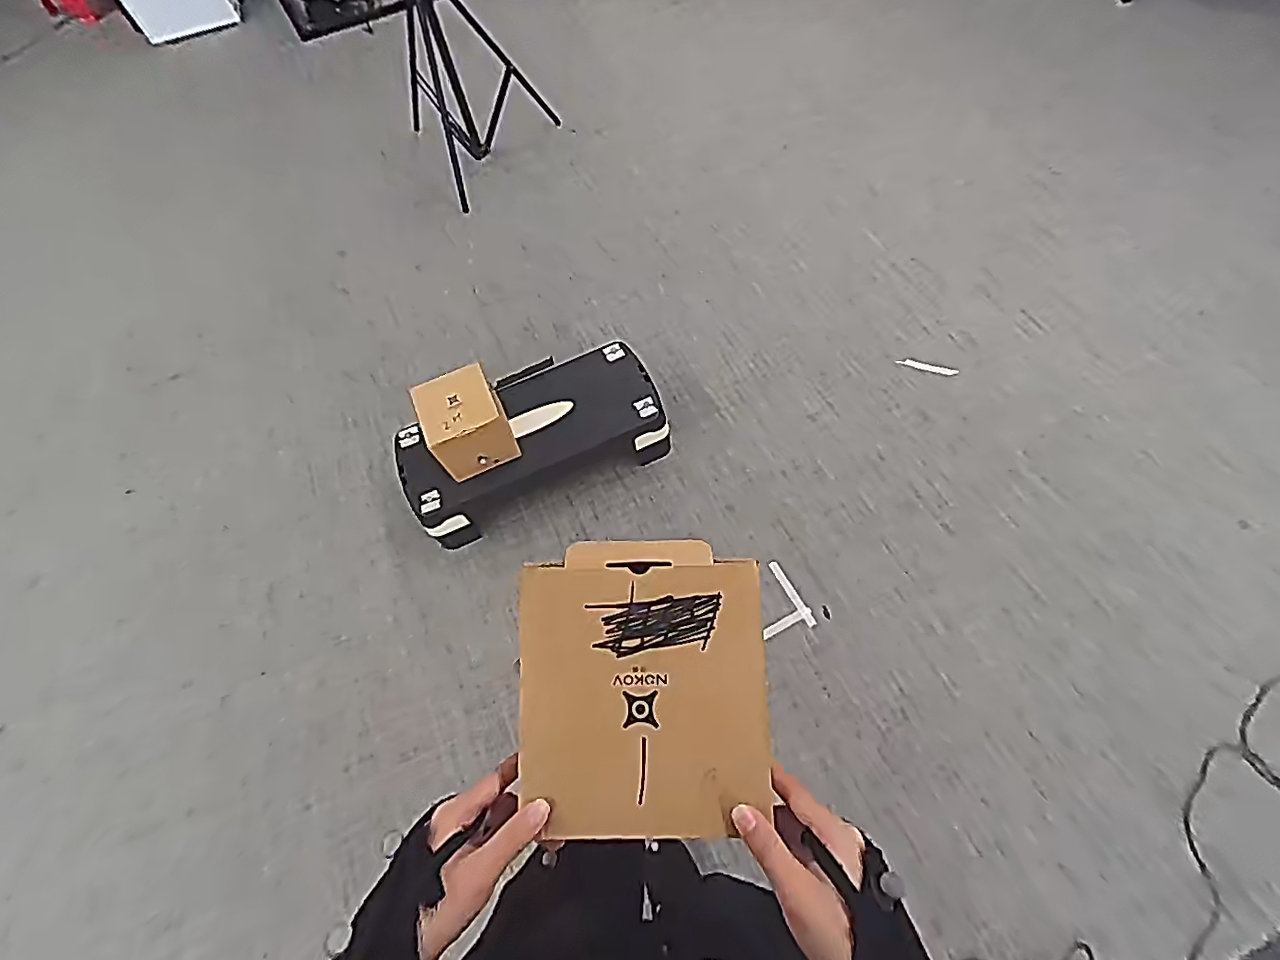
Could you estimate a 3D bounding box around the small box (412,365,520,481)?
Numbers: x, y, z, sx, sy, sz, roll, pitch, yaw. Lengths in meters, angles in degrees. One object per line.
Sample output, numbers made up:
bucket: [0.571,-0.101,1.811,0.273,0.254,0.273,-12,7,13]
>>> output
small box: [-0.399,-0.127,1.255,0.168,0.176,0.179,-24,64,-6]

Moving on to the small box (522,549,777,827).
small box: [0.007,0.149,0.437,0.168,0.176,0.179,-1,81,2]

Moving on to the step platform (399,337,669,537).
step platform: [-0.271,-0.120,1.436,0.684,0.204,0.286,-25,64,-7]
